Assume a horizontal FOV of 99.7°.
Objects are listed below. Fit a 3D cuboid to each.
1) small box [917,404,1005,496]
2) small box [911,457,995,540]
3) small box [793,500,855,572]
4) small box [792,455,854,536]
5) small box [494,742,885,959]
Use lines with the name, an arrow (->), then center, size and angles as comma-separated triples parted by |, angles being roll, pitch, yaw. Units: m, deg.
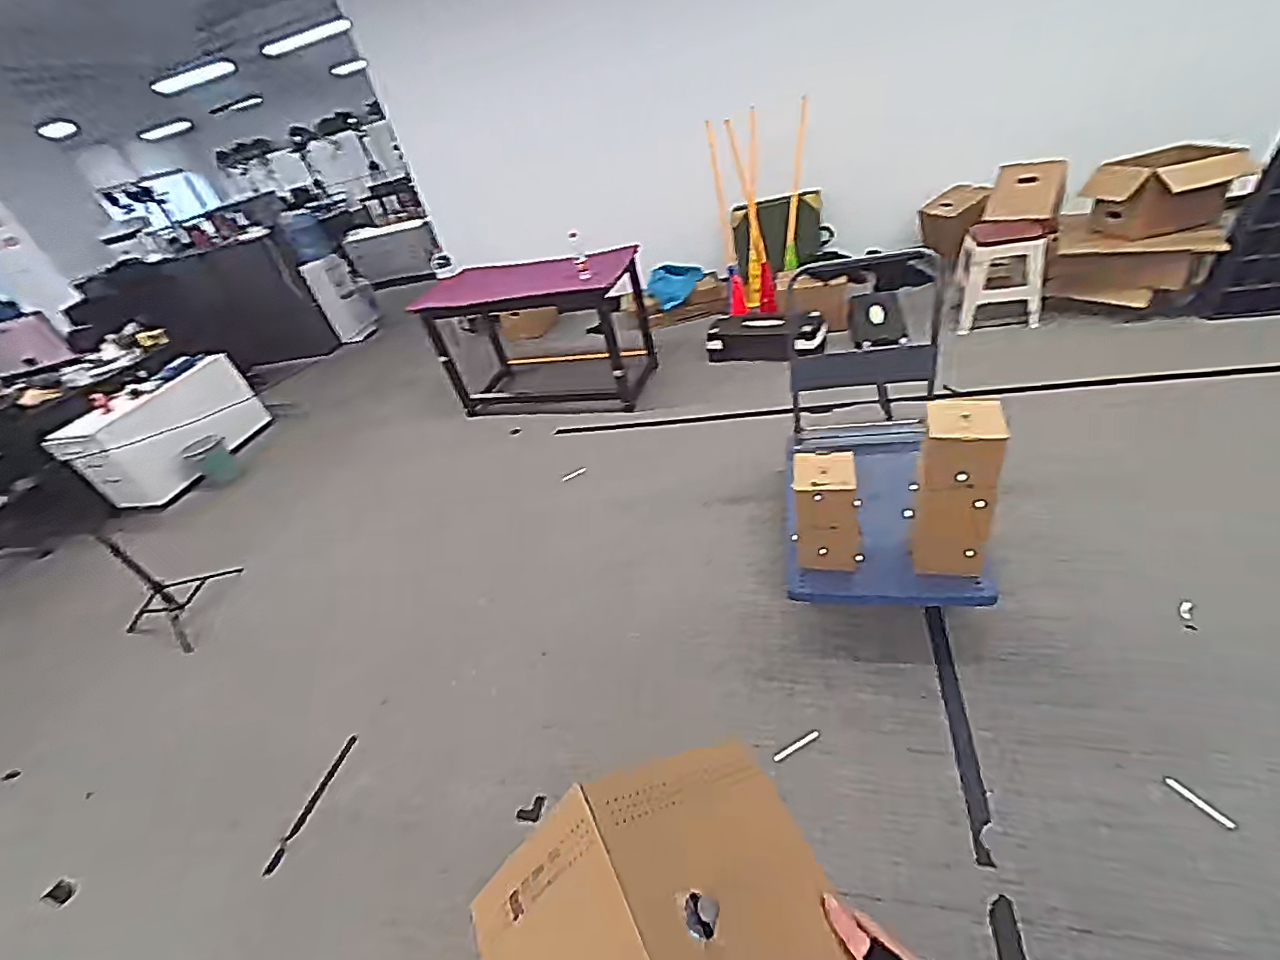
small box -> 0.817, -0.081, 1.392 | 0.168, 0.176, 0.179 | 2, 40, 22
small box -> 0.850, 0.049, 1.487 | 0.179, 0.176, 0.168 | 2, 39, 21
small box -> 0.580, 0.173, 1.697 | 0.179, 0.176, 0.168 | 0, 39, 21
small box -> 0.540, 0.044, 1.603 | 0.168, 0.176, 0.179 | -2, 37, 19
small box -> 0.023, 0.313, 0.375 | 0.179, 0.168, 0.176 | 13, 32, -43
